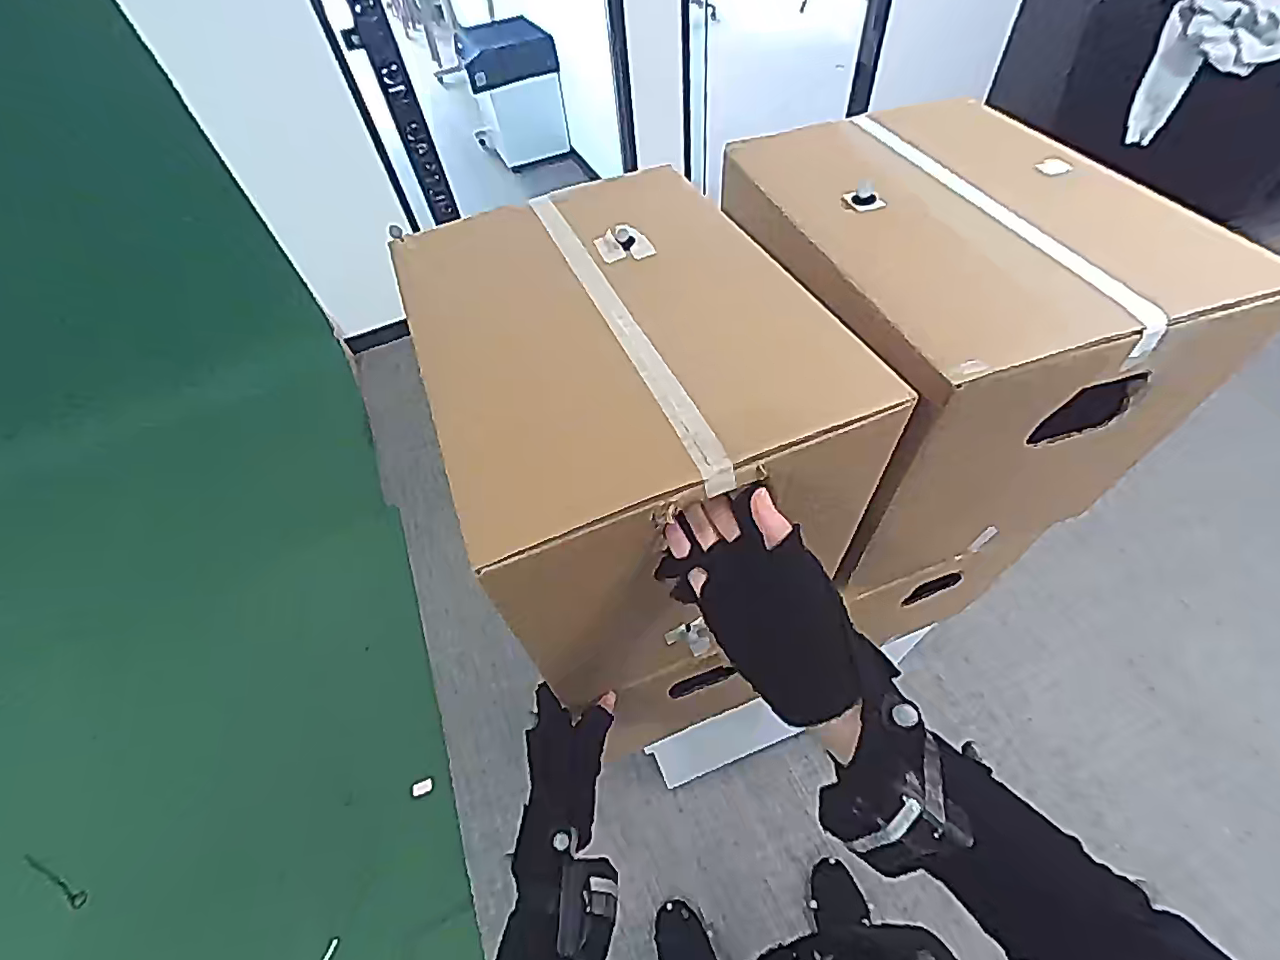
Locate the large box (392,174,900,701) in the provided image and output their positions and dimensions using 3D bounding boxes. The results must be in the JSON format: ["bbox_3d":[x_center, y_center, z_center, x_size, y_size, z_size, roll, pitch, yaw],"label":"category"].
[{"bbox_3d":[-0.021,-0.054,0.574,0.320,0.320,0.408,-20,53,-10],"label":"large box"}]
